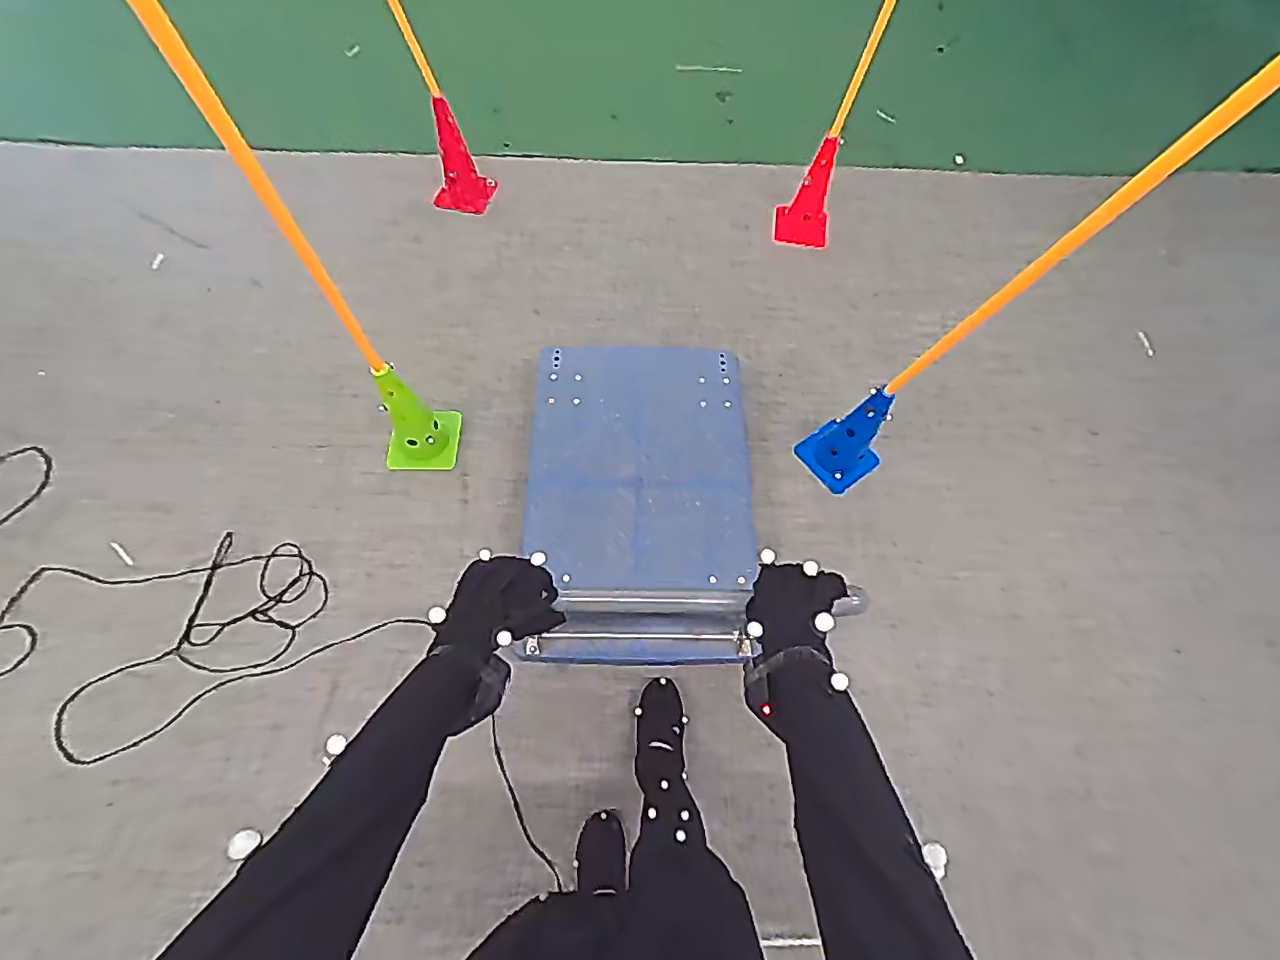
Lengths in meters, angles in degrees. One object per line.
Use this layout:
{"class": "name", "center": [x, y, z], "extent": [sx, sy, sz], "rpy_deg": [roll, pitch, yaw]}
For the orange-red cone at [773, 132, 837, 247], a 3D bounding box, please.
{"class": "orange-red cone", "center": [0.614, -1.035, 1.899], "extent": [0.198, 0.360, 0.199], "rpy_deg": [11, 66, 4]}
